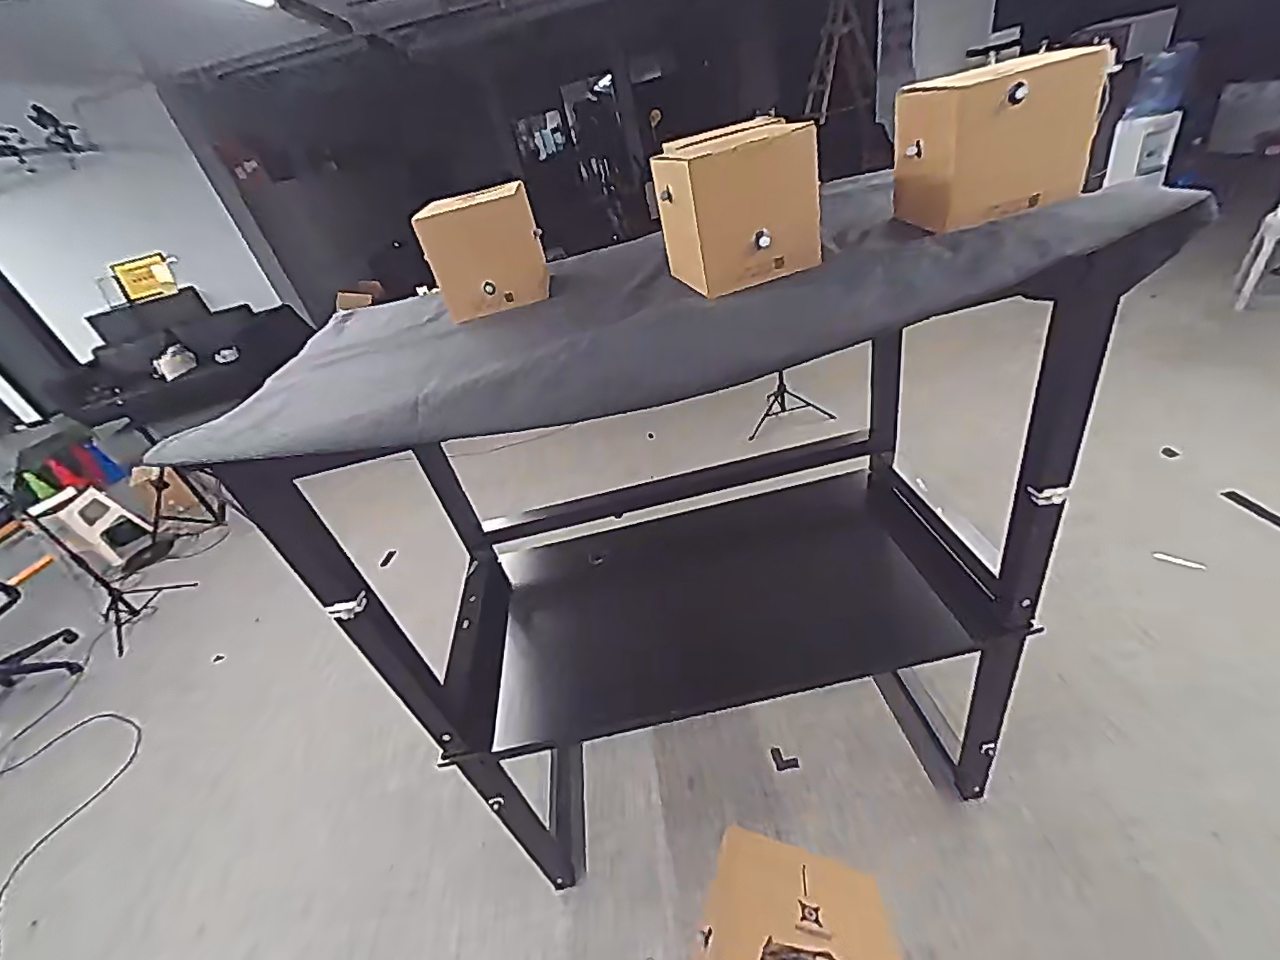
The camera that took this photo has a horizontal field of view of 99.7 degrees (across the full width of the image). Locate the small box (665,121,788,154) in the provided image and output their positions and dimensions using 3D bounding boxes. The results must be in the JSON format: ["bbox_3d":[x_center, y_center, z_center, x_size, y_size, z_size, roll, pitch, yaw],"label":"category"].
[{"bbox_3d":[0.149,-0.499,0.930,0.179,0.176,0.168,-13,33,3],"label":"small box"}]

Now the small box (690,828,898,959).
[{"bbox_3d":[0.144,0.504,0.533,0.168,0.176,0.179,16,11,6],"label":"small box"}]

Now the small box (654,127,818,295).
[{"bbox_3d":[0.131,-0.371,0.751,0.168,0.176,0.179,-19,34,-5],"label":"small box"}]

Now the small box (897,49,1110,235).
[{"bbox_3d":[0.459,-0.440,0.720,0.168,0.176,0.179,-13,33,5],"label":"small box"}]
